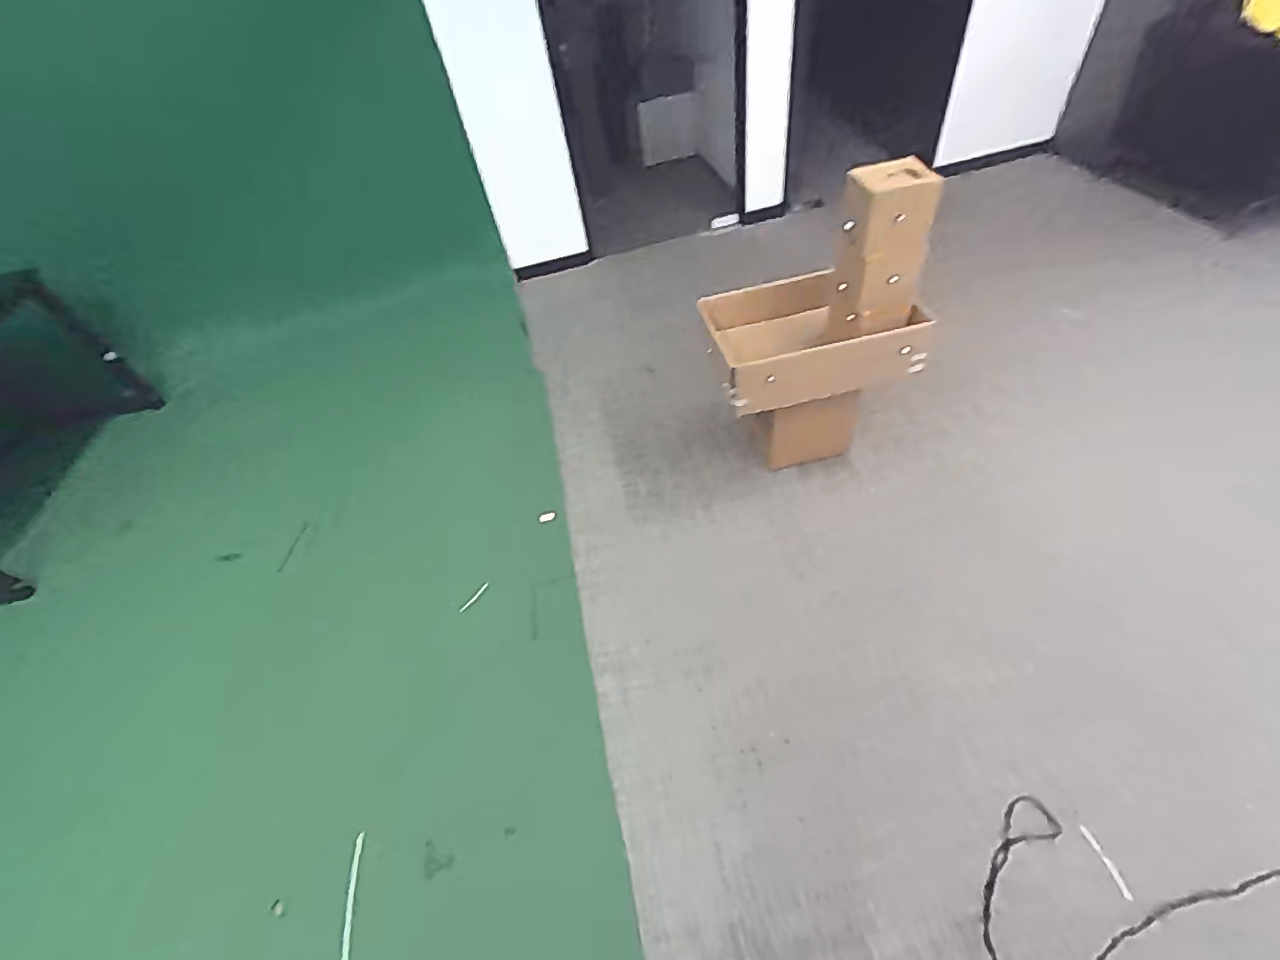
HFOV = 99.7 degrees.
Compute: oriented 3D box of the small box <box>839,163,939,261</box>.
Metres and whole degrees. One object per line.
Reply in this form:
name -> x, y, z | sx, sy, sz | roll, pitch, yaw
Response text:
small box -> 0.655, -0.713, 1.444 | 0.179, 0.176, 0.168 | -11, 48, 1
